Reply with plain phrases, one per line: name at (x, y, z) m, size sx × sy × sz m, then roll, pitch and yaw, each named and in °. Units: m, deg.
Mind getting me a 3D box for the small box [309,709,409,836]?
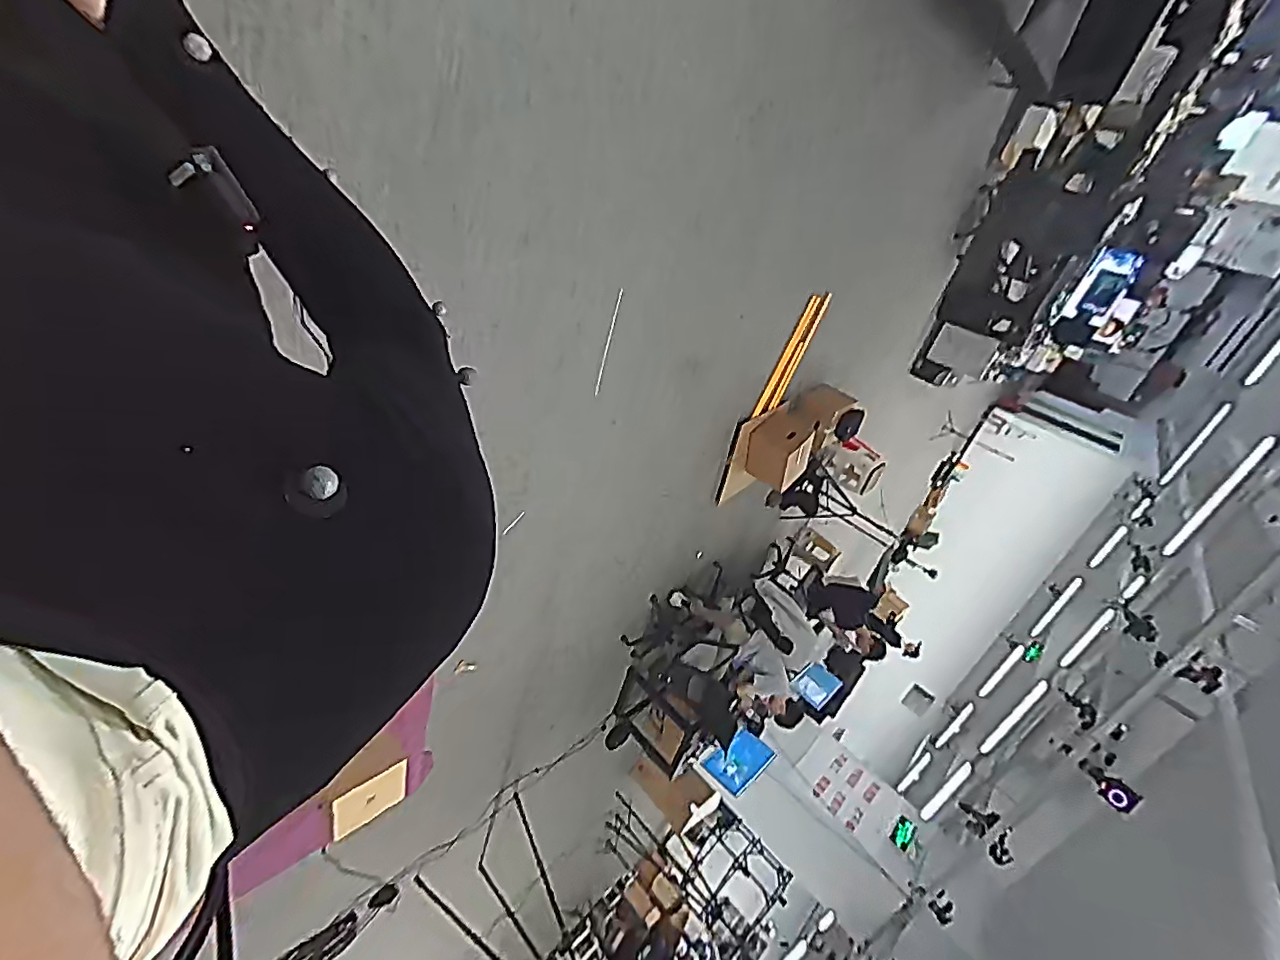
small box at (-0.683, 0.700, 1.311) m, size 0.168 × 0.176 × 0.179 m, roll -17°, pitch 133°, yaw -45°
